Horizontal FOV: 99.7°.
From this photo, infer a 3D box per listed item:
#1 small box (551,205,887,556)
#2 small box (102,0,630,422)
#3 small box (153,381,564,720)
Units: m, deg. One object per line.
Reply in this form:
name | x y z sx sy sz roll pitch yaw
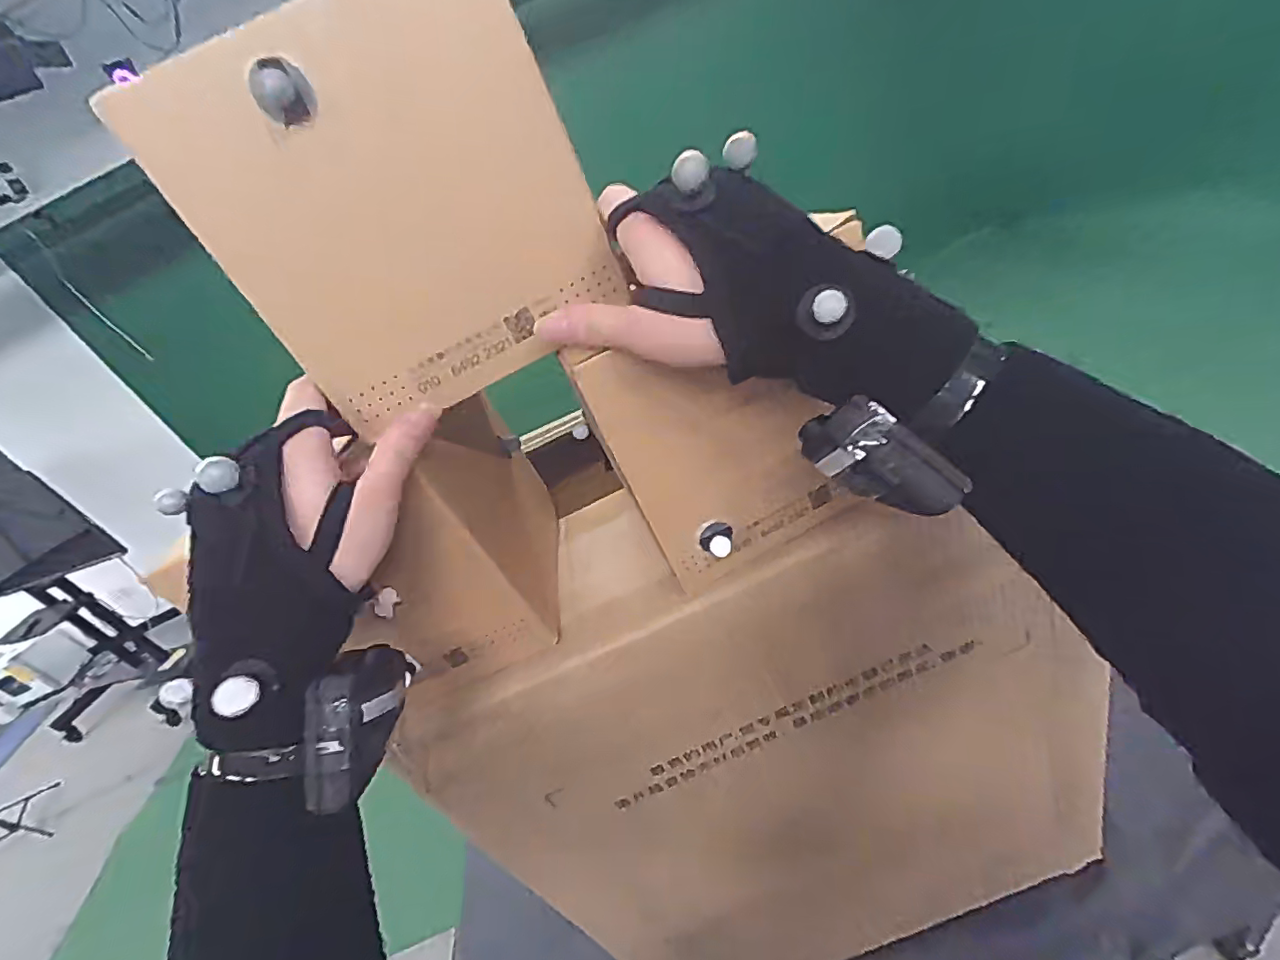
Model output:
small box | 0.044 -0.071 0.381 0.168 0.176 0.179 -28 30 -3
small box | -0.127 -0.157 0.322 0.168 0.176 0.179 -29 30 -3
small box | -0.169 0.032 0.393 0.168 0.176 0.179 -27 32 4
